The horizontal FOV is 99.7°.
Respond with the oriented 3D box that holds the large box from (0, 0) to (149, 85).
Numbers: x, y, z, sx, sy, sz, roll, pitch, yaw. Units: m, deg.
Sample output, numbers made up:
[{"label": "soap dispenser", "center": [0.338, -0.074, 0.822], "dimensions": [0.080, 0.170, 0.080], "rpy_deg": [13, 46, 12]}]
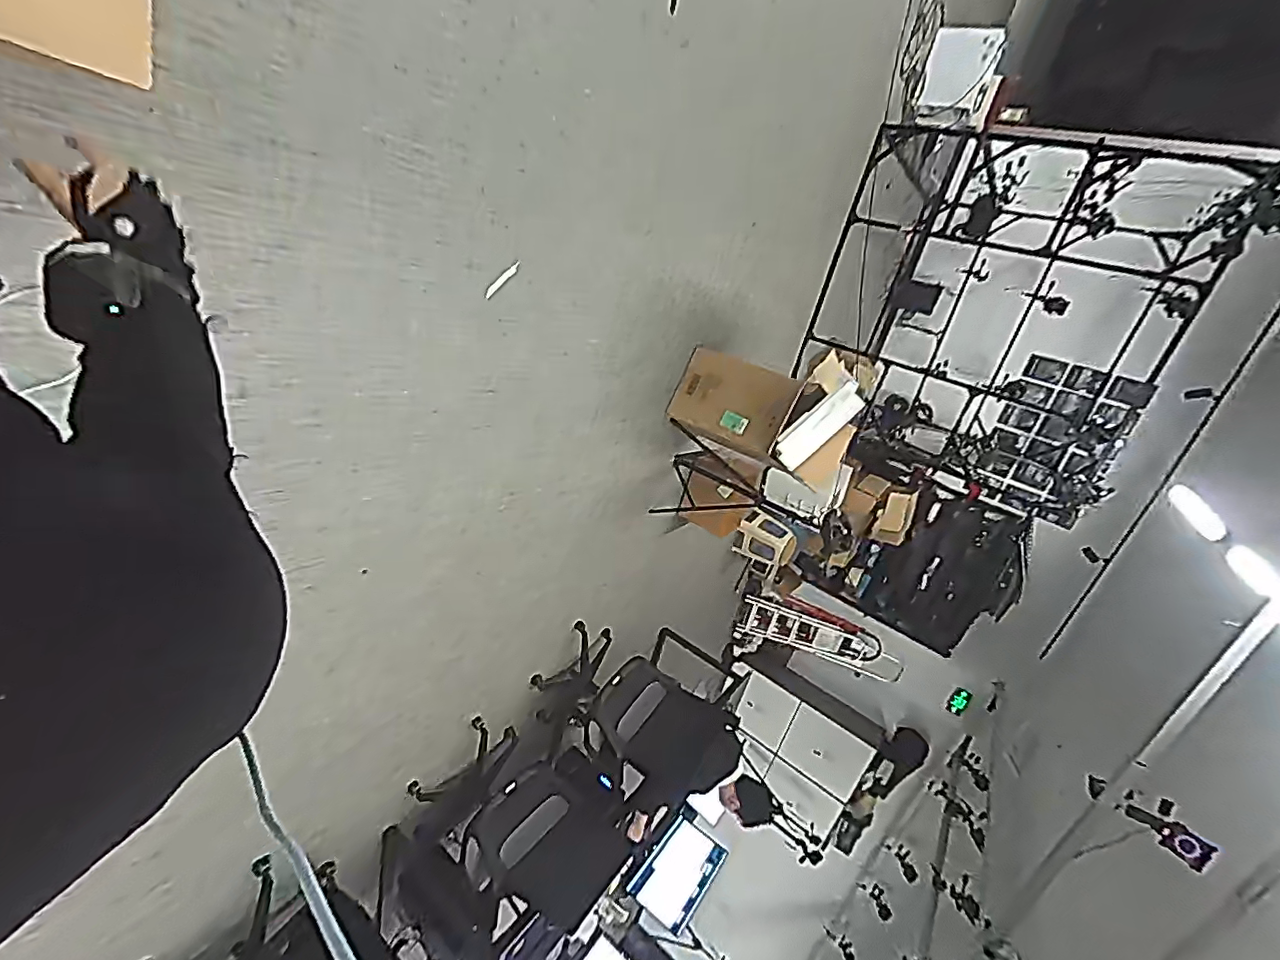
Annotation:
[{"label": "large box", "center": [-0.866, -0.706, 0.598], "dimensions": [0.408, 0.320, 0.320], "rpy_deg": [-14, 126, -56]}]
